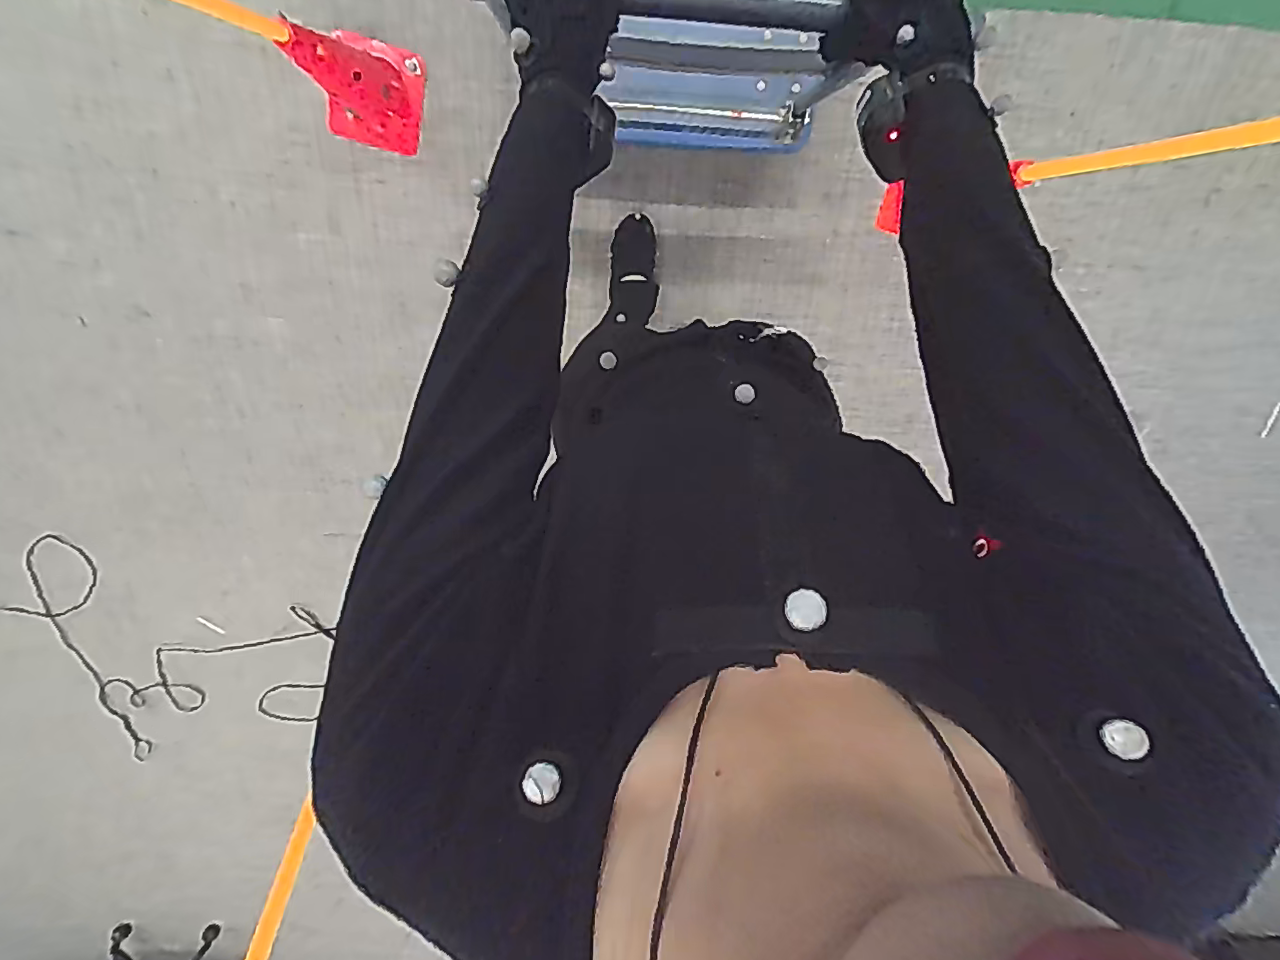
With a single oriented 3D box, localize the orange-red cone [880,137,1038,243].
[{"bbox_3d":[0.697,-0.623,1.133,0.198,0.360,0.199,12,112,-6],"label":"orange-red cone"}]
